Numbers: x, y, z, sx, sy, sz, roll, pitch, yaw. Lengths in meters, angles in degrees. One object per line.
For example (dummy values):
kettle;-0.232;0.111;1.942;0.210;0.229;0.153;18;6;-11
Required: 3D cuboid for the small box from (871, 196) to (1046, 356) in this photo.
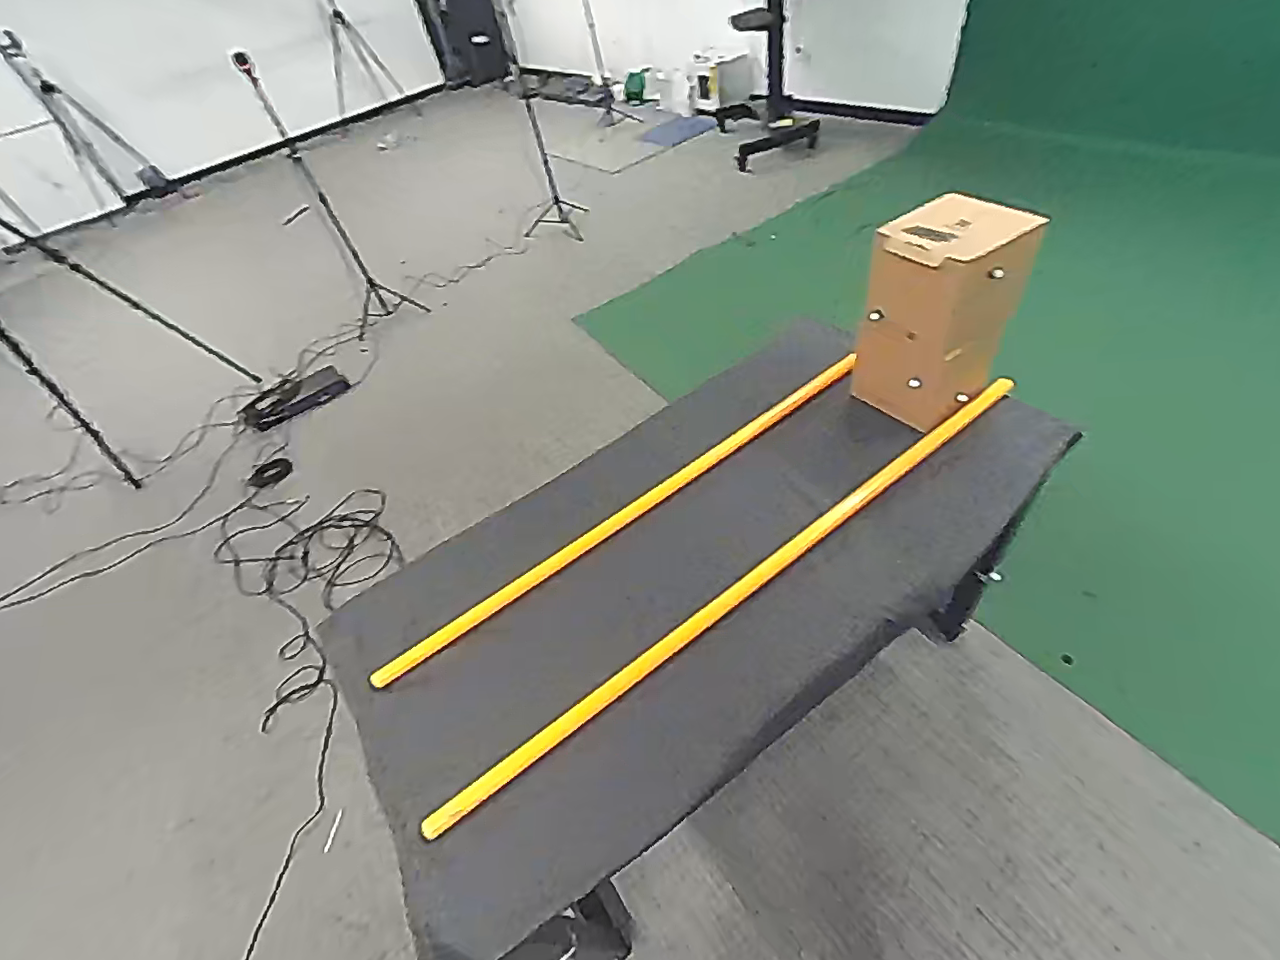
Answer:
small box;0.504;-0.332;0.887;0.179;0.176;0.168;-29;49;-13
